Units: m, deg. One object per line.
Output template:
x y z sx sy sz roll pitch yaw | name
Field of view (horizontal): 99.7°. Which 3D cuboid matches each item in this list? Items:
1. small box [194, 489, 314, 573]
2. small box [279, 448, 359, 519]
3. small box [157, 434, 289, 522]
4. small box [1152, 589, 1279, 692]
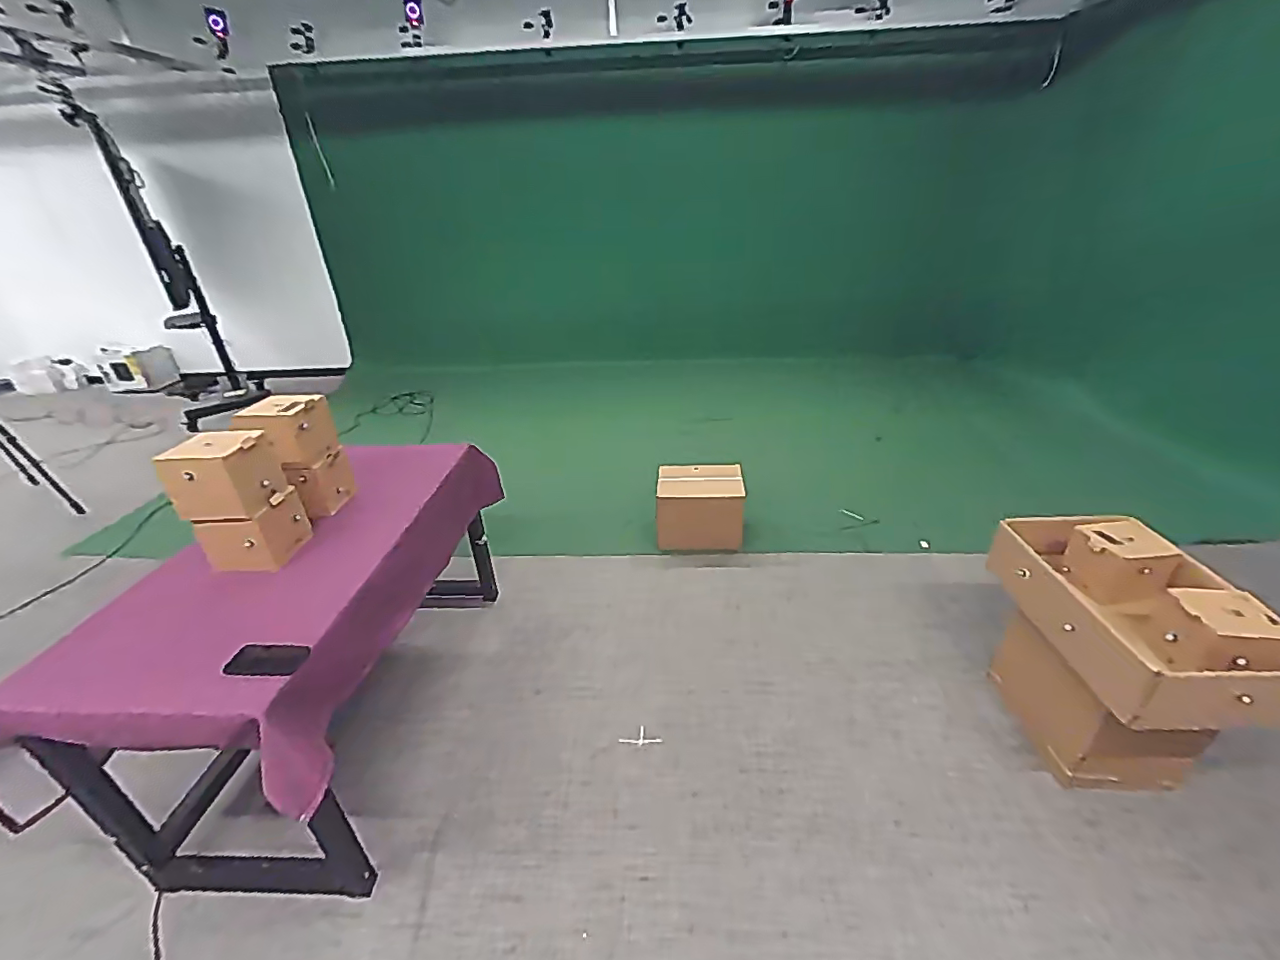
-1.018 0.136 1.448 0.179 0.176 0.168 -2 27 4 | small box
-1.016 0.010 1.681 0.179 0.176 0.168 -1 28 3 | small box
-1.037 -0.004 1.362 0.179 0.176 0.168 -2 28 3 | small box
1.378 0.380 1.286 0.179 0.176 0.168 1 29 10 | small box
